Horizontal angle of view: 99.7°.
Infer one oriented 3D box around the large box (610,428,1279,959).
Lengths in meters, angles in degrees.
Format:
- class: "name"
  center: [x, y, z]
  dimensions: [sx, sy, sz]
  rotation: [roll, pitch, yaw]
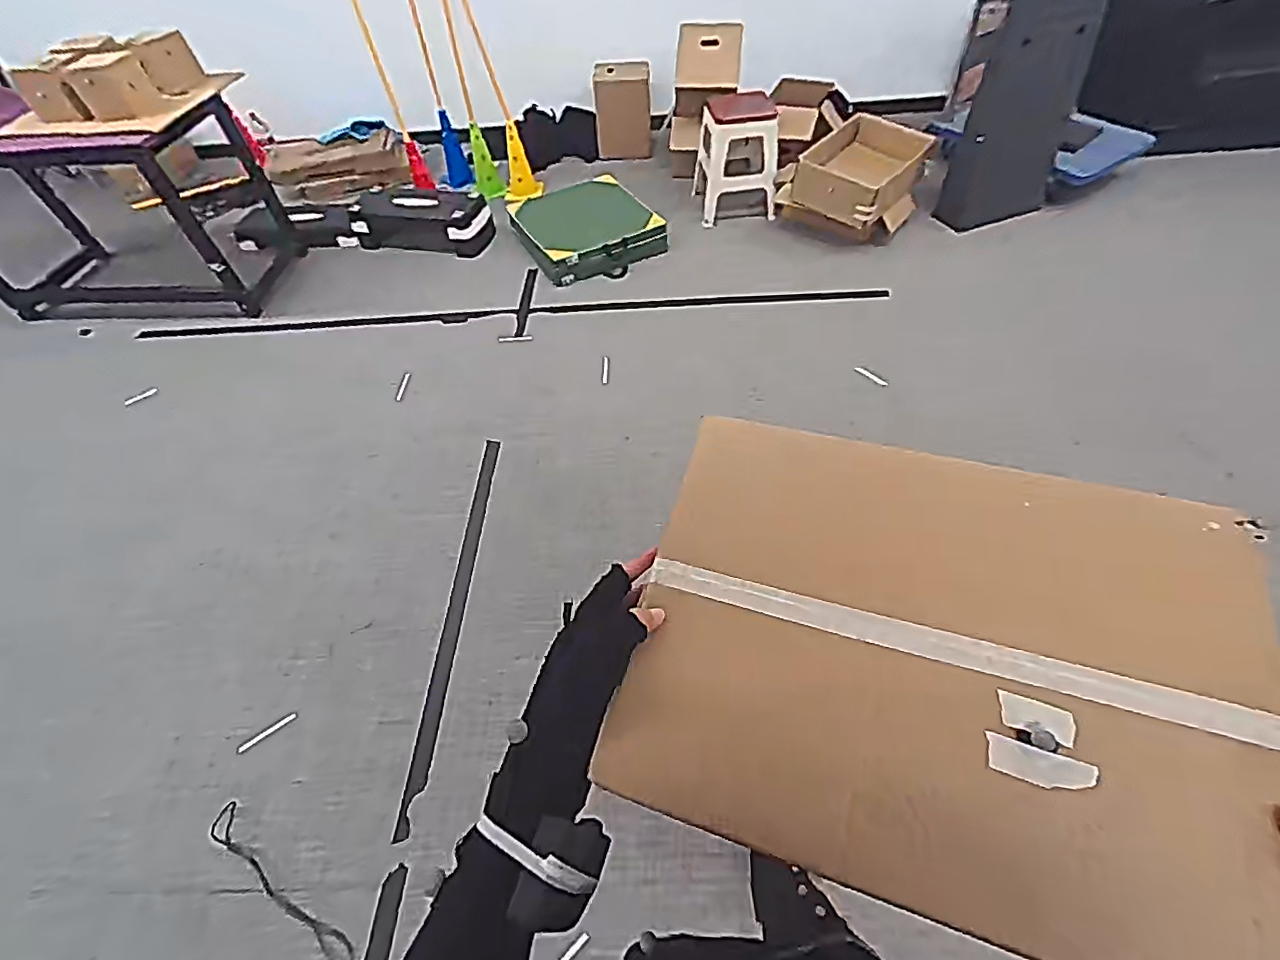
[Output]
- class: "large box"
  center: [0.227, 0.188, 0.524]
  dimensions: [0.408, 0.320, 0.320]
  rotation: [13, 65, 16]
